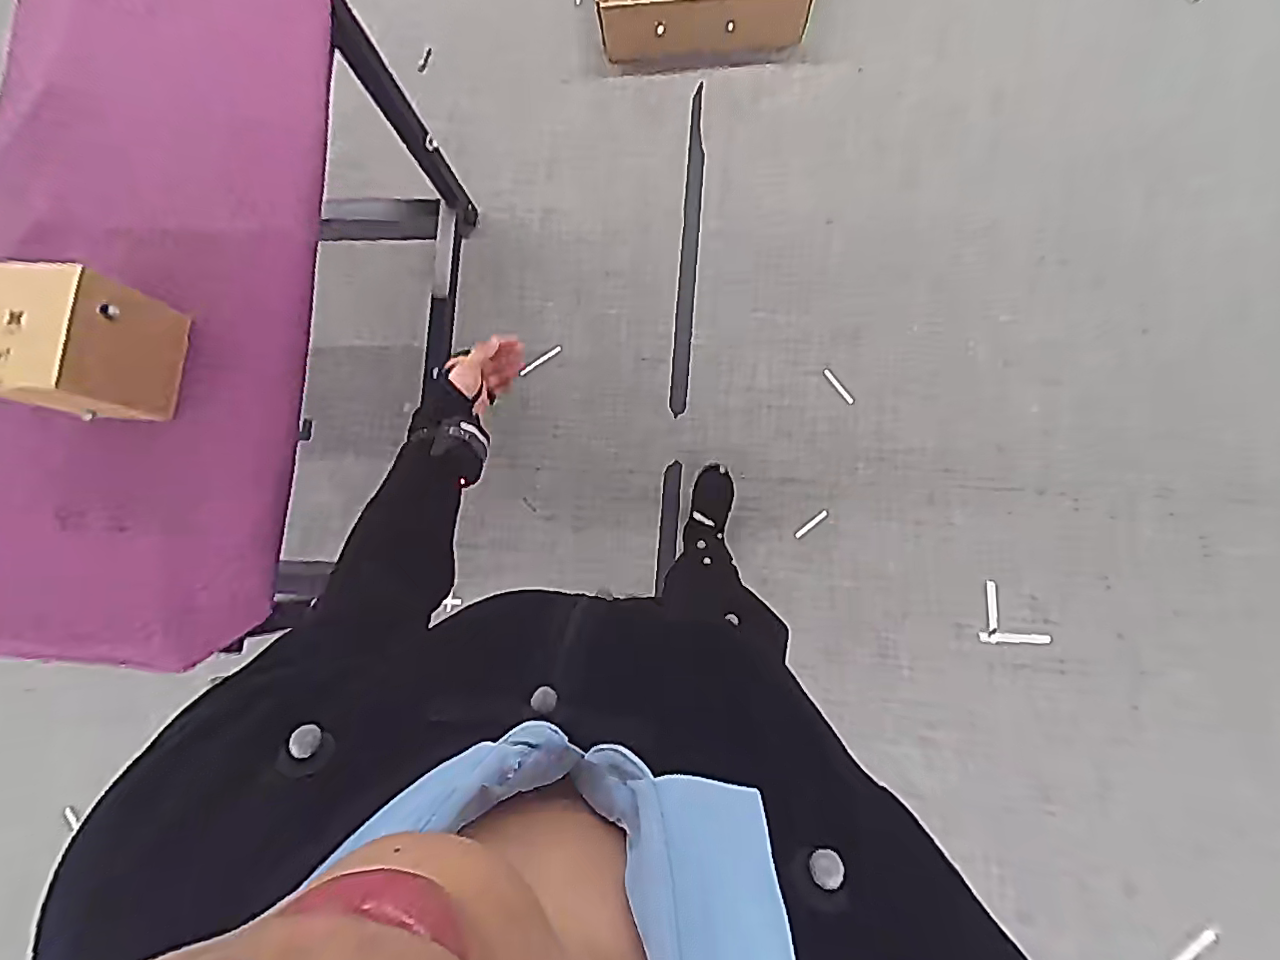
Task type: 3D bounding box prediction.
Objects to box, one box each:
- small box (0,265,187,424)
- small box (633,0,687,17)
[{"bbox_3d":[-0.822,-0.191,0.796,0.168,0.176,0.179,4,83,6],"label":"small box"},{"bbox_3d":[0.065,-1.523,1.586,0.168,0.176,0.179,9,83,4],"label":"small box"}]
